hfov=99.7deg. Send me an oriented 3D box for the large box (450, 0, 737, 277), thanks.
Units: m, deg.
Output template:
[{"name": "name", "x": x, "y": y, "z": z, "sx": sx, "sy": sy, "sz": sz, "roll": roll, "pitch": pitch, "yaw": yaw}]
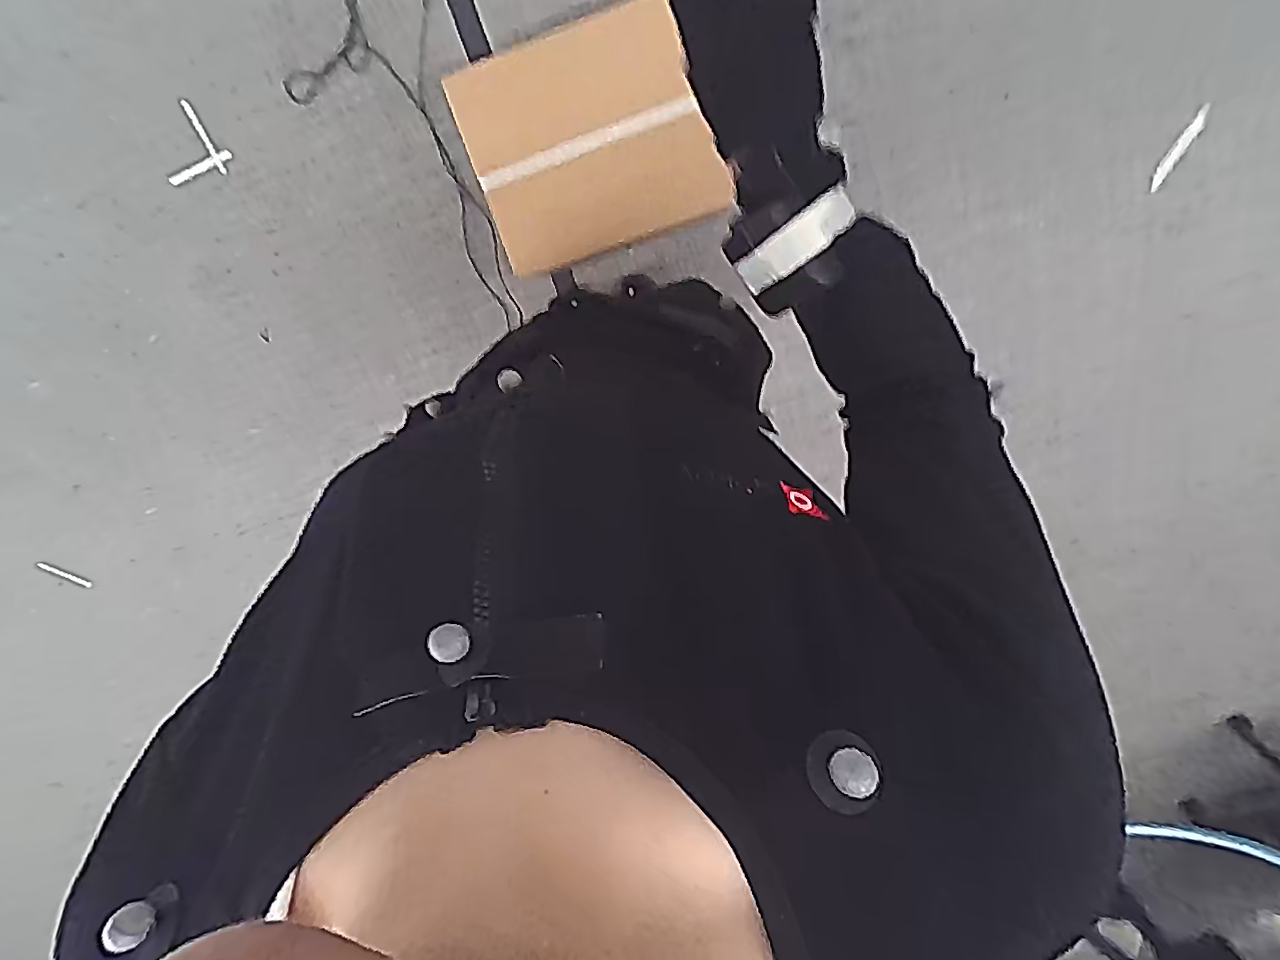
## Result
[{"name": "large box", "x": -0.069, "y": -0.604, "z": 1.018, "sx": 0.408, "sy": 0.320, "sz": 0.320, "roll": -17, "pitch": 111, "yaw": 7}]
